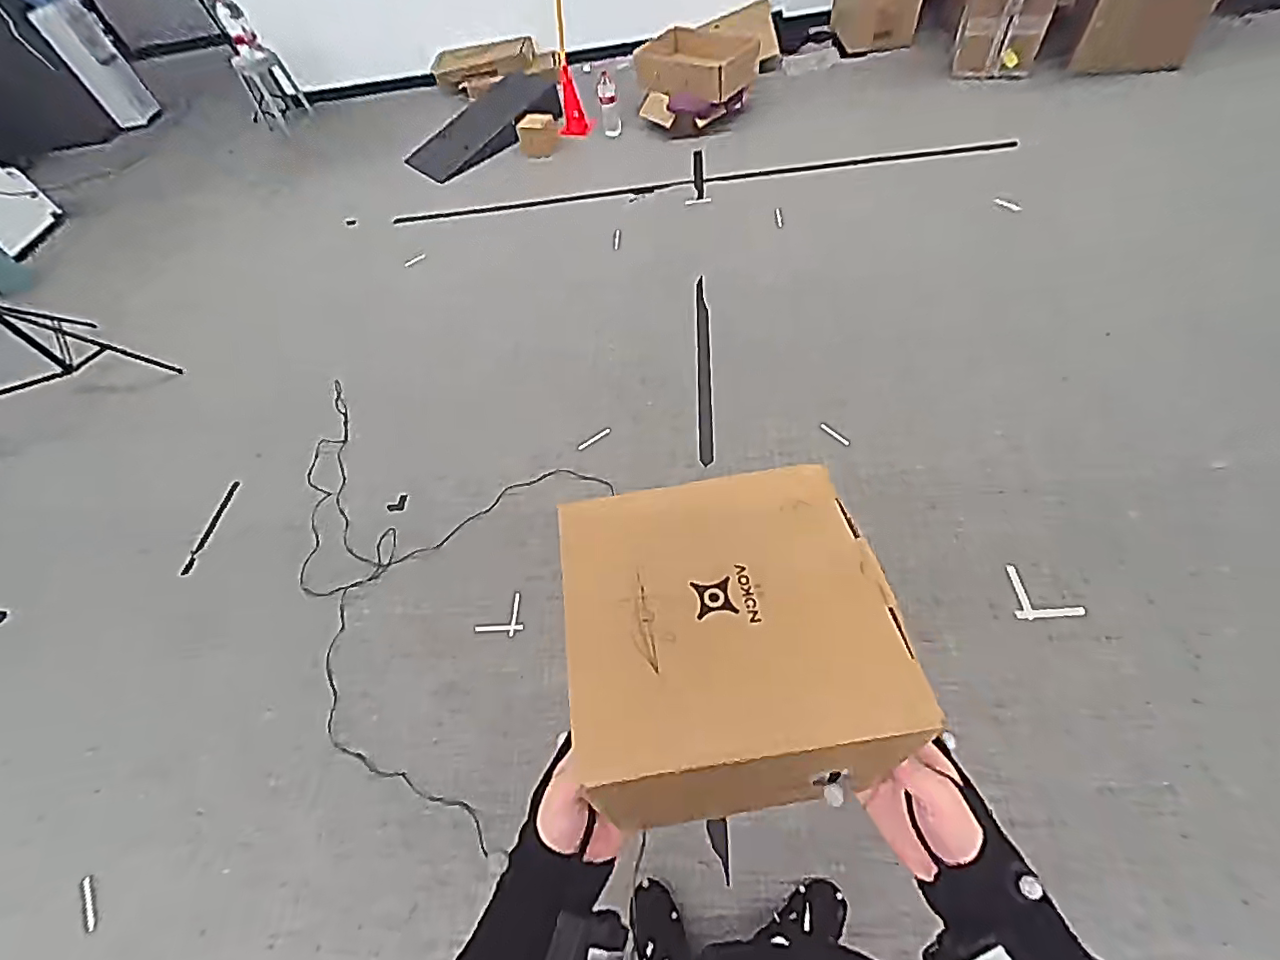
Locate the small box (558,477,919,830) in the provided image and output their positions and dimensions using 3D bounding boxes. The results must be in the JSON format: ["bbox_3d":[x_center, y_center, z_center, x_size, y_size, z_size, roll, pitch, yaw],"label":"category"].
[{"bbox_3d":[0.048,0.124,0.371,0.179,0.176,0.168,-10,50,-1],"label":"small box"}]
